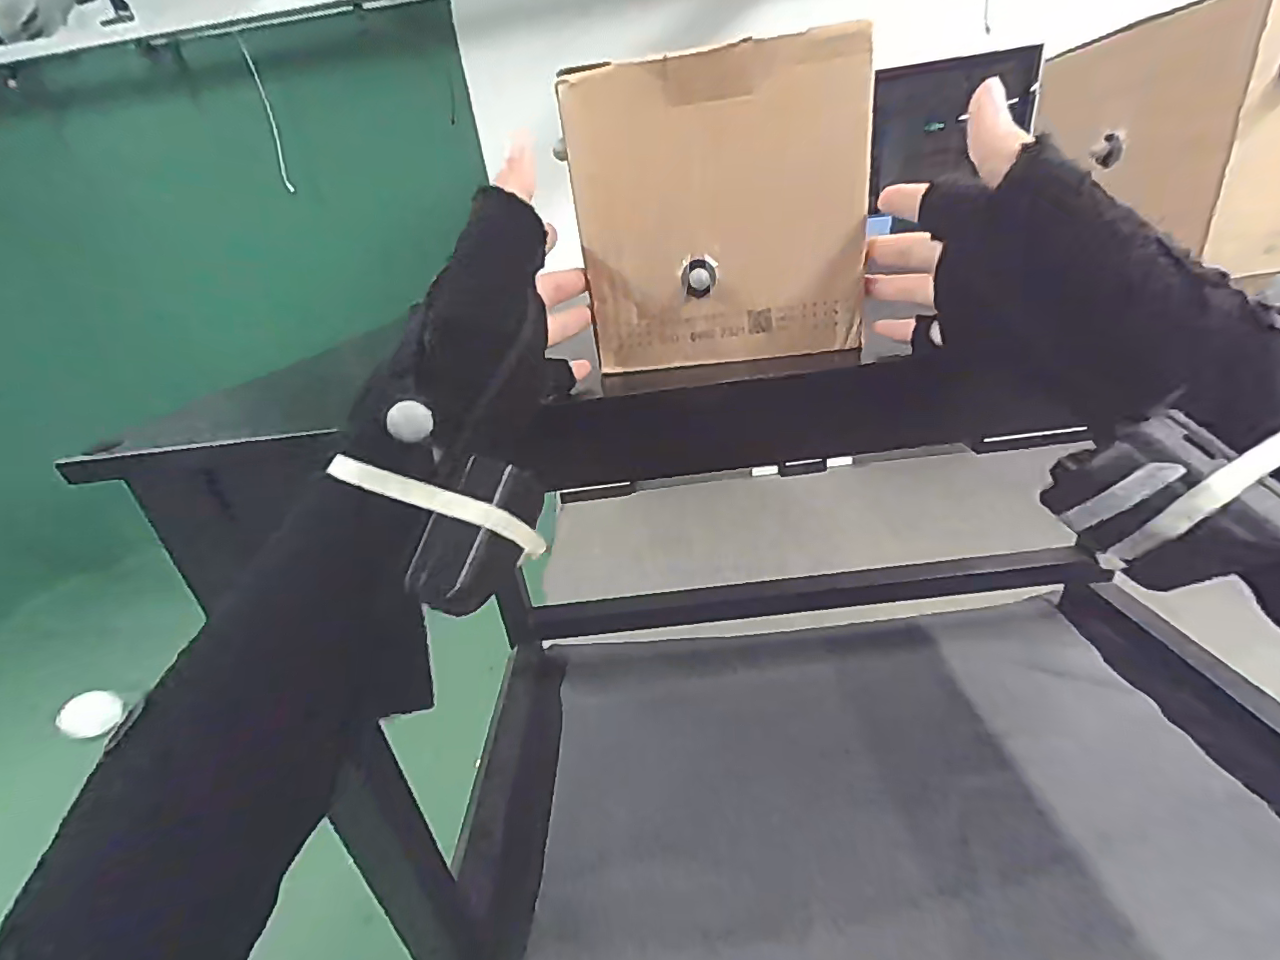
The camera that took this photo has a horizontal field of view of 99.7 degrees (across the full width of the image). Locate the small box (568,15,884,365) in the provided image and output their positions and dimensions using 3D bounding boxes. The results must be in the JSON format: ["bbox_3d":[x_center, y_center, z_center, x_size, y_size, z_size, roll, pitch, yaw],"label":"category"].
[{"bbox_3d":[0.057,-0.185,0.385,0.168,0.176,0.179,-5,25,7],"label":"small box"}]
